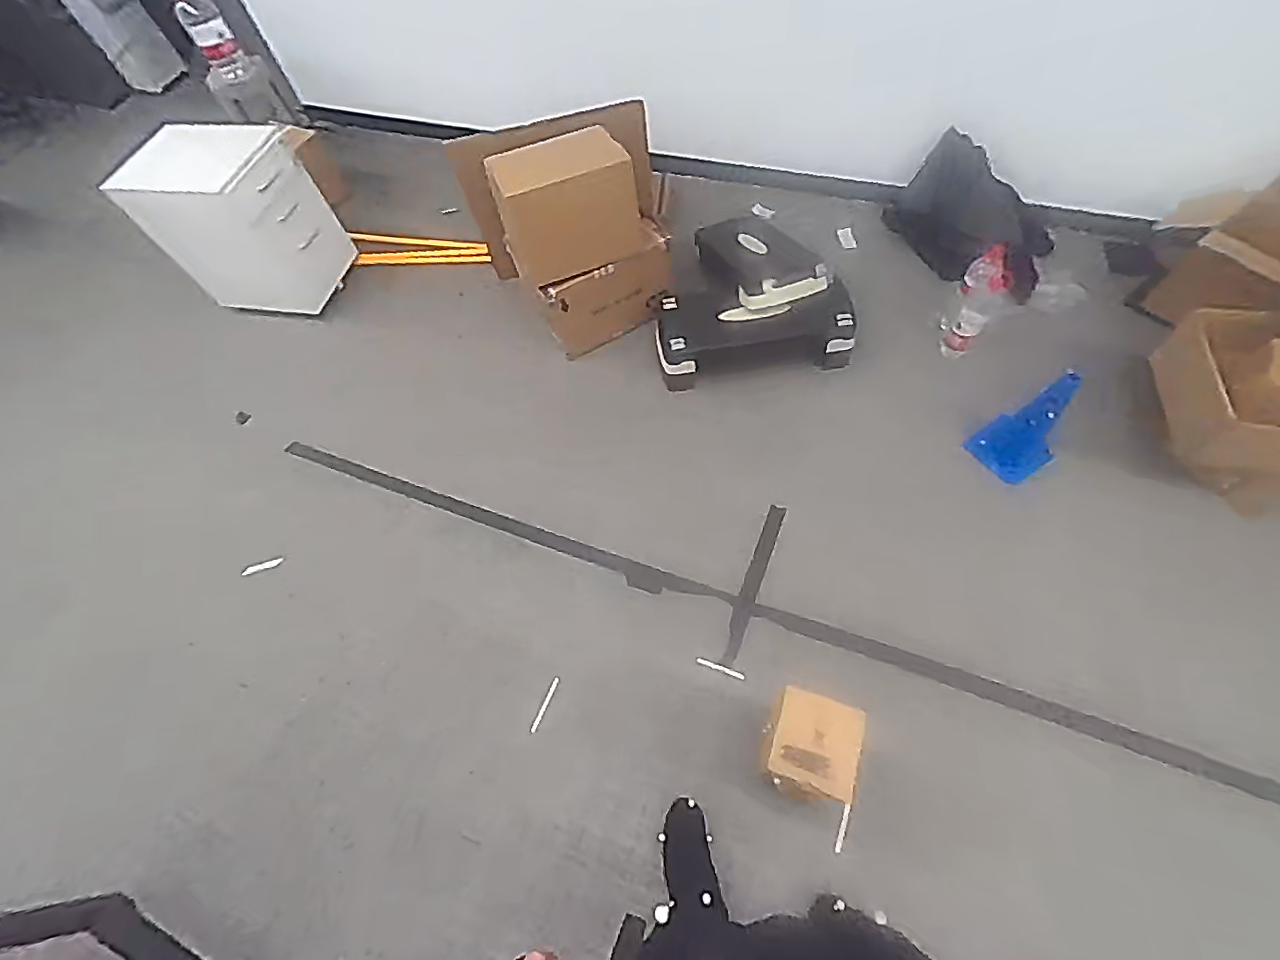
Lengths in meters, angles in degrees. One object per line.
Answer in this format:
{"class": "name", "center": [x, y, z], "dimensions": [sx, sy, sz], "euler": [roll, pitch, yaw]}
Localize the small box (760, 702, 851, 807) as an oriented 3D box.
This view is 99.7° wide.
{"class": "small box", "center": [0.391, 0.658, 1.302], "dimensions": [0.168, 0.176, 0.179], "euler": [14, 64, 15]}
